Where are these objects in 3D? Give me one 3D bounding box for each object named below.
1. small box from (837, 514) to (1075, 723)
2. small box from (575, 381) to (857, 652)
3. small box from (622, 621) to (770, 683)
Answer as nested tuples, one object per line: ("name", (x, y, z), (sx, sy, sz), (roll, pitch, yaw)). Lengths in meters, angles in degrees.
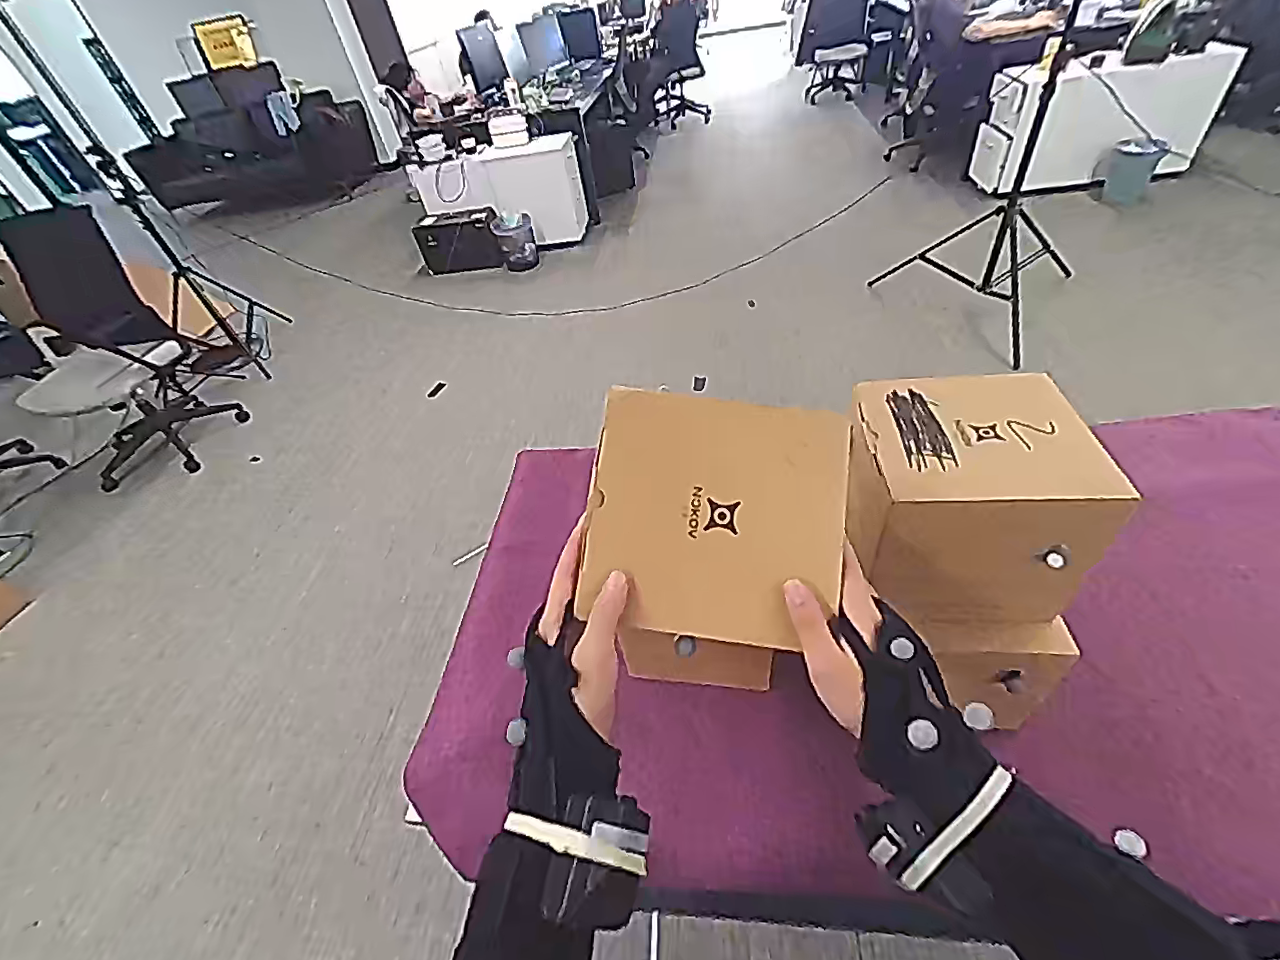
("small box", (0.322, 0.155, 0.605), (0.179, 0.176, 0.168), (-1, 43, 9))
("small box", (0.056, 0.035, 0.442), (0.179, 0.176, 0.168), (7, 78, 4))
("small box", (0.073, 0.135, 0.674), (0.179, 0.176, 0.168), (2, 45, 11))
